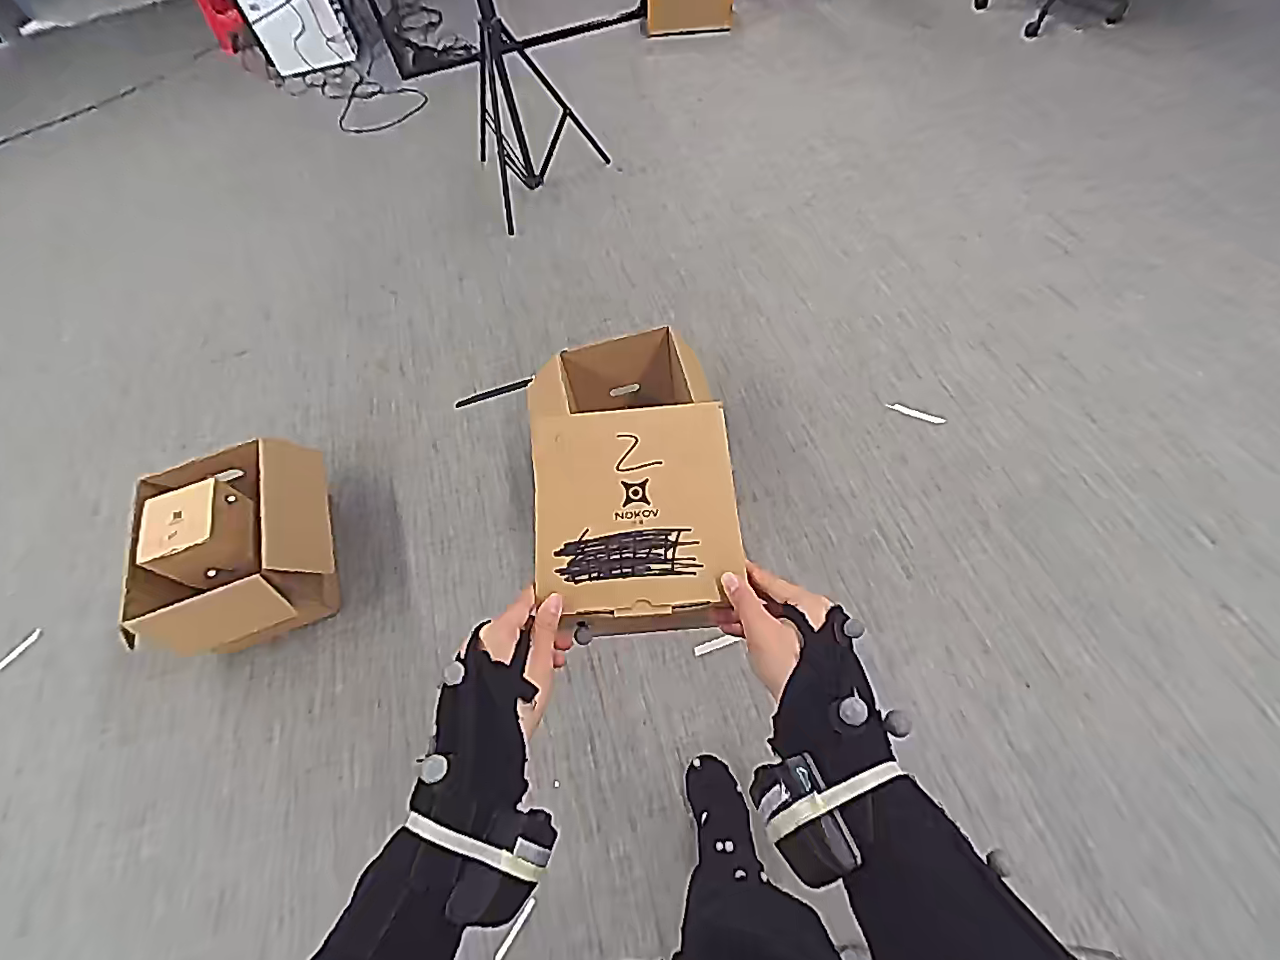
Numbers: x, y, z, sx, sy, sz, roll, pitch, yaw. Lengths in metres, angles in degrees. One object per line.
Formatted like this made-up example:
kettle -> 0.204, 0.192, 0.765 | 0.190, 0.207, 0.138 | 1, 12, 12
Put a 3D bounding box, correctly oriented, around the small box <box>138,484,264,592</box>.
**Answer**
small box -> -1.046, 0.143, 1.306 | 0.168, 0.176, 0.179 | -20, 60, -4
